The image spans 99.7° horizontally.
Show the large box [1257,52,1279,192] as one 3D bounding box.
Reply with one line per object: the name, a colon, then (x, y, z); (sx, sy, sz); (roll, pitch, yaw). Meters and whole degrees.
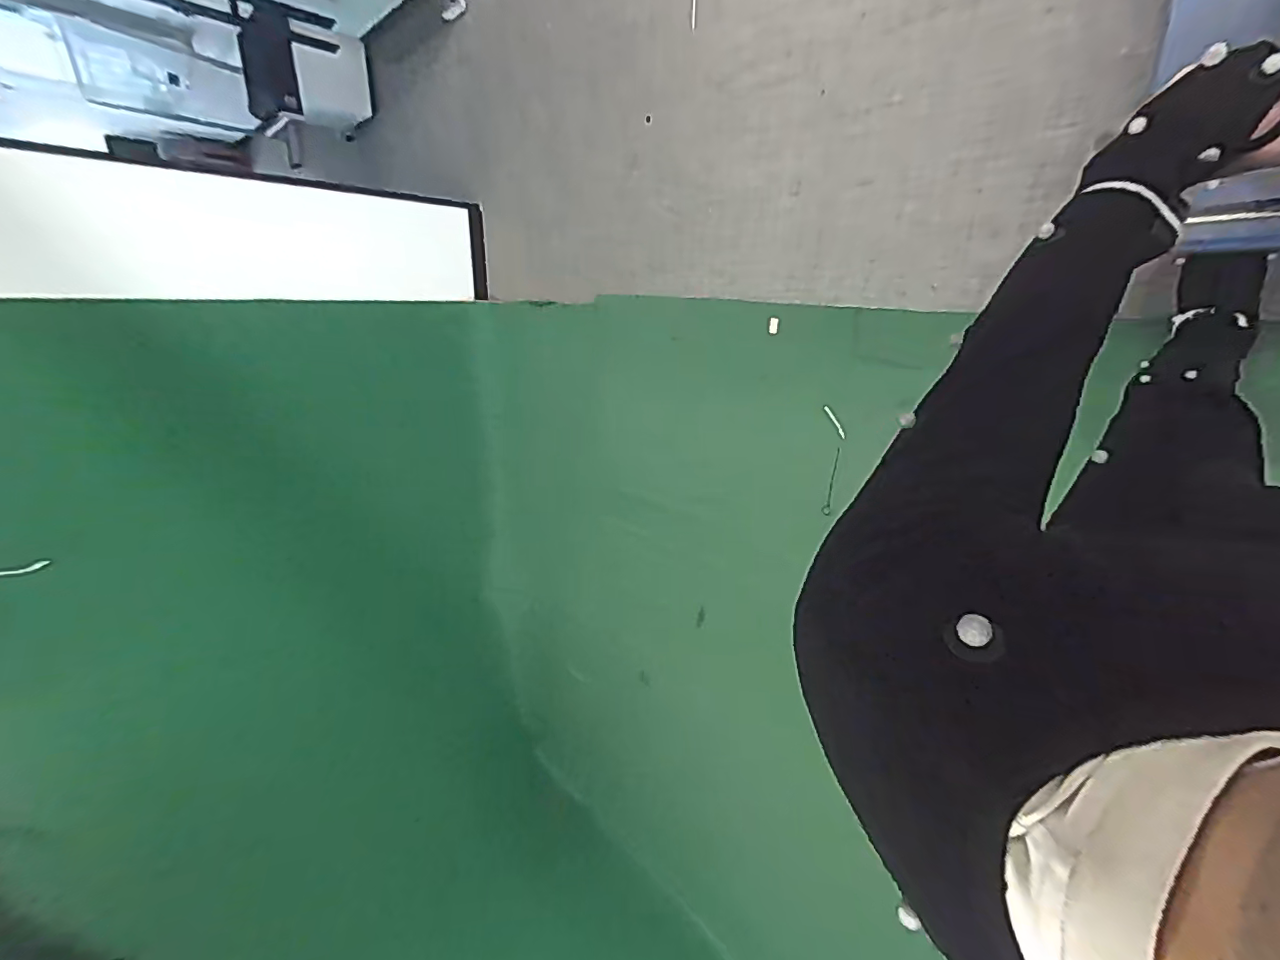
large box: (1.014, -0.614, 0.642); (0.320, 0.320, 0.408); (15, 111, 43)
